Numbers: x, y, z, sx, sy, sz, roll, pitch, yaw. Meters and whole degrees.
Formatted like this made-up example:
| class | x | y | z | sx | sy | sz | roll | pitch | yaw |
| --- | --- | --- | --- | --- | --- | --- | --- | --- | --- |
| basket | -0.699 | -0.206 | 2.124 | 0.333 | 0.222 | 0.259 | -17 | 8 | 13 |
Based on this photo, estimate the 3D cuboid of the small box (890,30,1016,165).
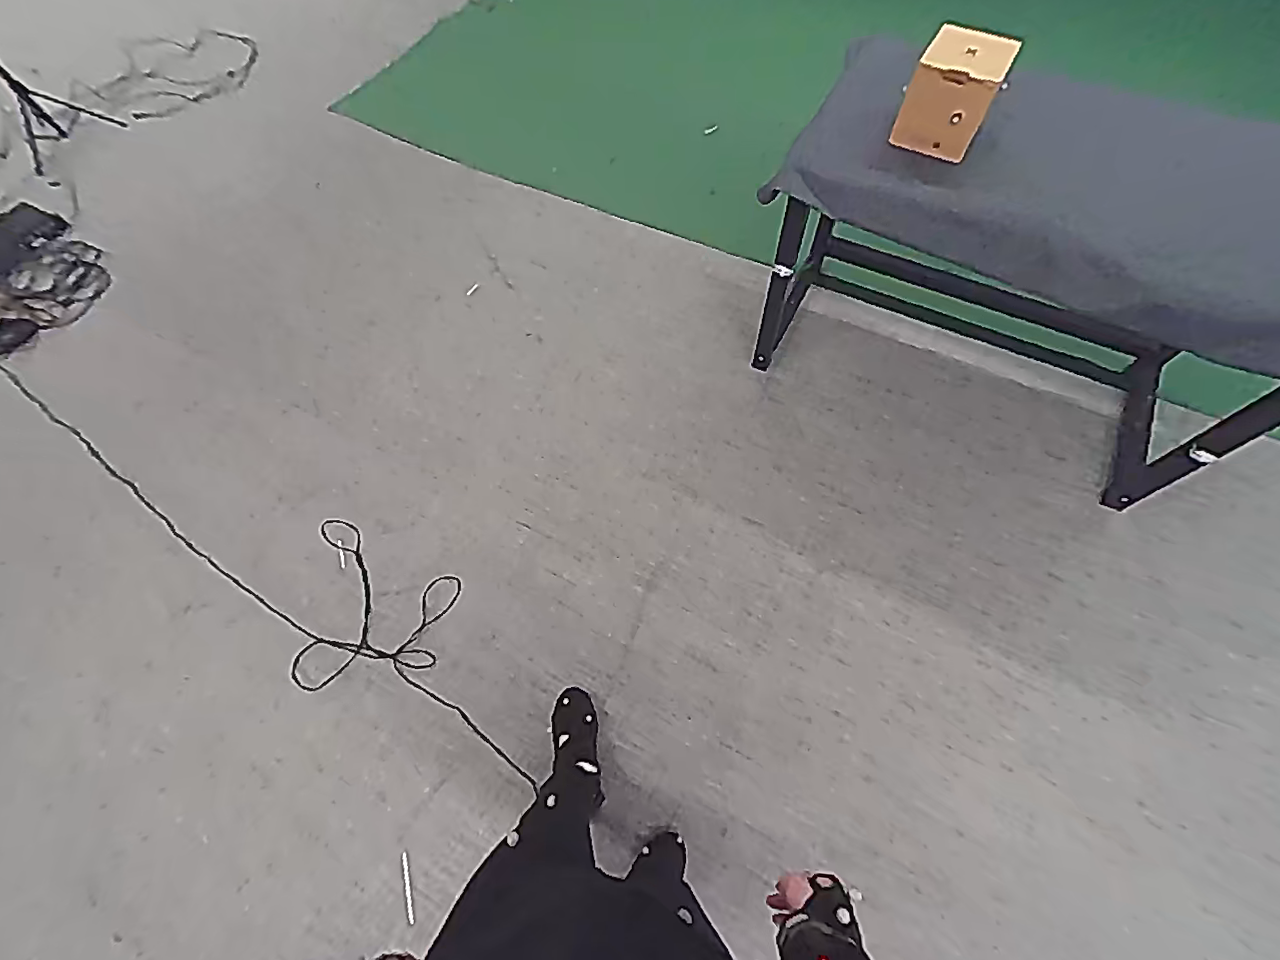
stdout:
| class | x | y | z | sx | sy | sz | roll | pitch | yaw |
| --- | --- | --- | --- | --- | --- | --- | --- | --- | --- |
| small box | 0.680 | -0.838 | 1.195 | 0.168 | 0.176 | 0.179 | 28 | 67 | 13 |
